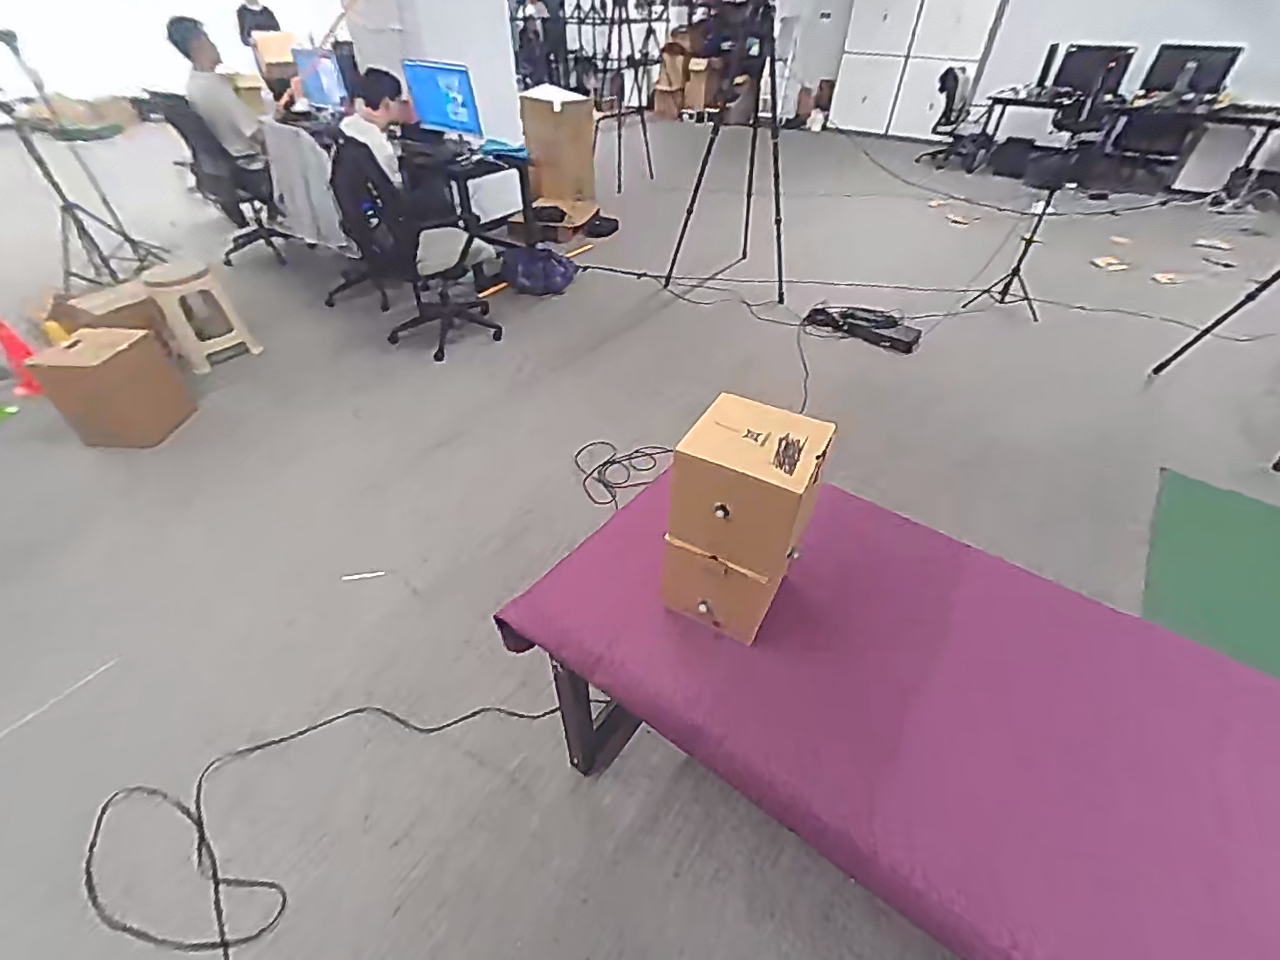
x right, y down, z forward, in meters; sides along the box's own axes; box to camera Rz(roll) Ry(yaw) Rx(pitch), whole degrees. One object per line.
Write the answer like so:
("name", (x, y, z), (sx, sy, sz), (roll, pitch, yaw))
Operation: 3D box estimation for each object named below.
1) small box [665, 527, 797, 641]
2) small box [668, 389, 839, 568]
("small box", (0.147, 0.124, 0.888), (0.168, 0.176, 0.179), (21, 46, 22))
("small box", (0.156, -0.001, 0.777), (0.179, 0.176, 0.168), (24, 45, 23))
